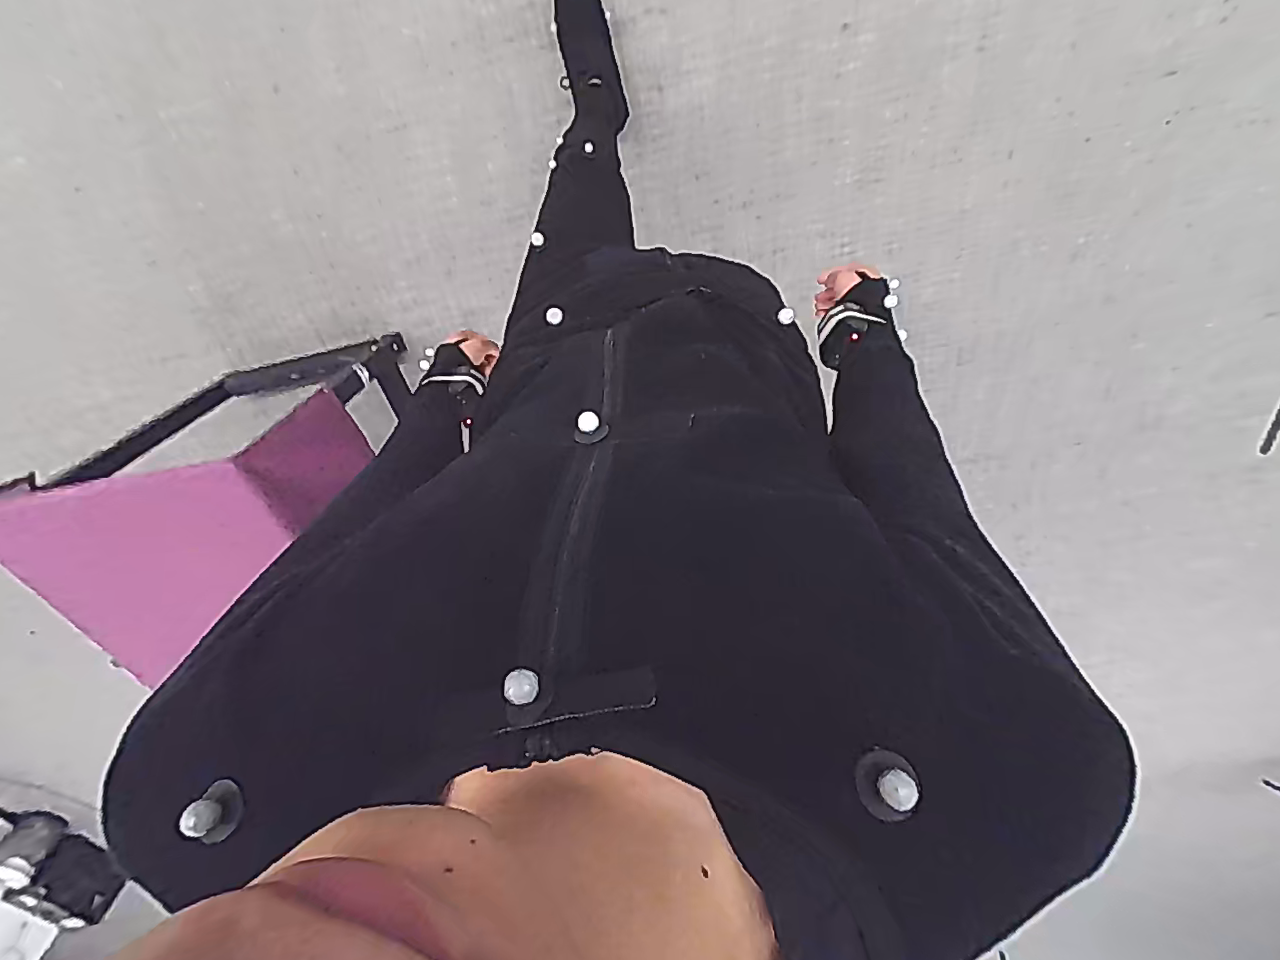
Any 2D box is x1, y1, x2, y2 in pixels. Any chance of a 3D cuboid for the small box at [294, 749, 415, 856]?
[{"bbox_3d":[-0.710,0.812,1.368,0.179,0.176,0.168,-18,122,13],"label":"small box"}]
